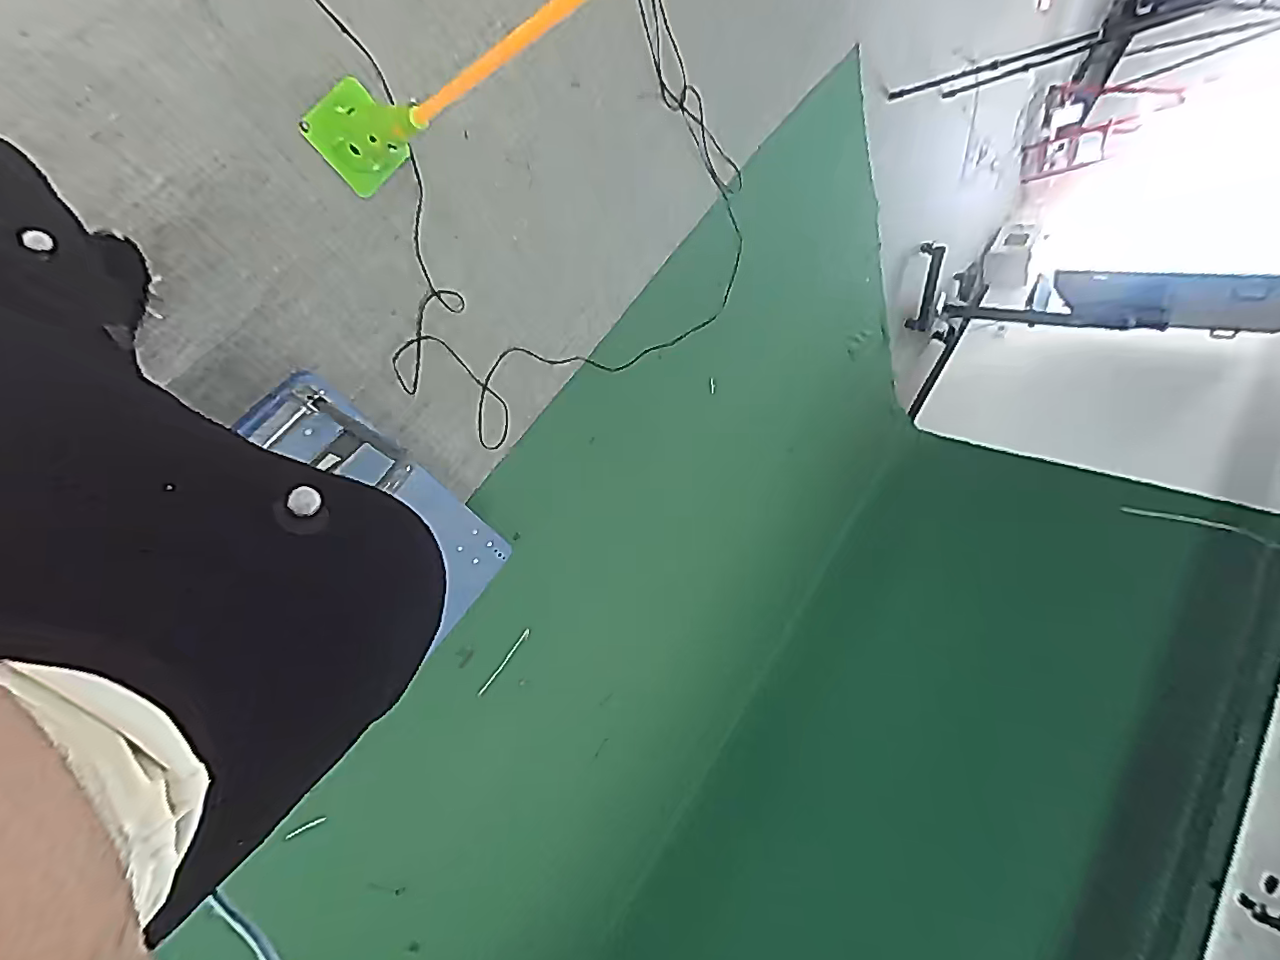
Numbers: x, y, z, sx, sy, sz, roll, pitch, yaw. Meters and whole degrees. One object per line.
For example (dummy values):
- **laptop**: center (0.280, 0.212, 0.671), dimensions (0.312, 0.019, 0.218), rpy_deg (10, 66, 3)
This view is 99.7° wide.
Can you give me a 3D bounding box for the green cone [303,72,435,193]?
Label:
- **green cone**: center (-0.573, -0.812, 1.237), dimensions (0.202, 0.368, 0.200), rpy_deg (-57, 139, -13)
